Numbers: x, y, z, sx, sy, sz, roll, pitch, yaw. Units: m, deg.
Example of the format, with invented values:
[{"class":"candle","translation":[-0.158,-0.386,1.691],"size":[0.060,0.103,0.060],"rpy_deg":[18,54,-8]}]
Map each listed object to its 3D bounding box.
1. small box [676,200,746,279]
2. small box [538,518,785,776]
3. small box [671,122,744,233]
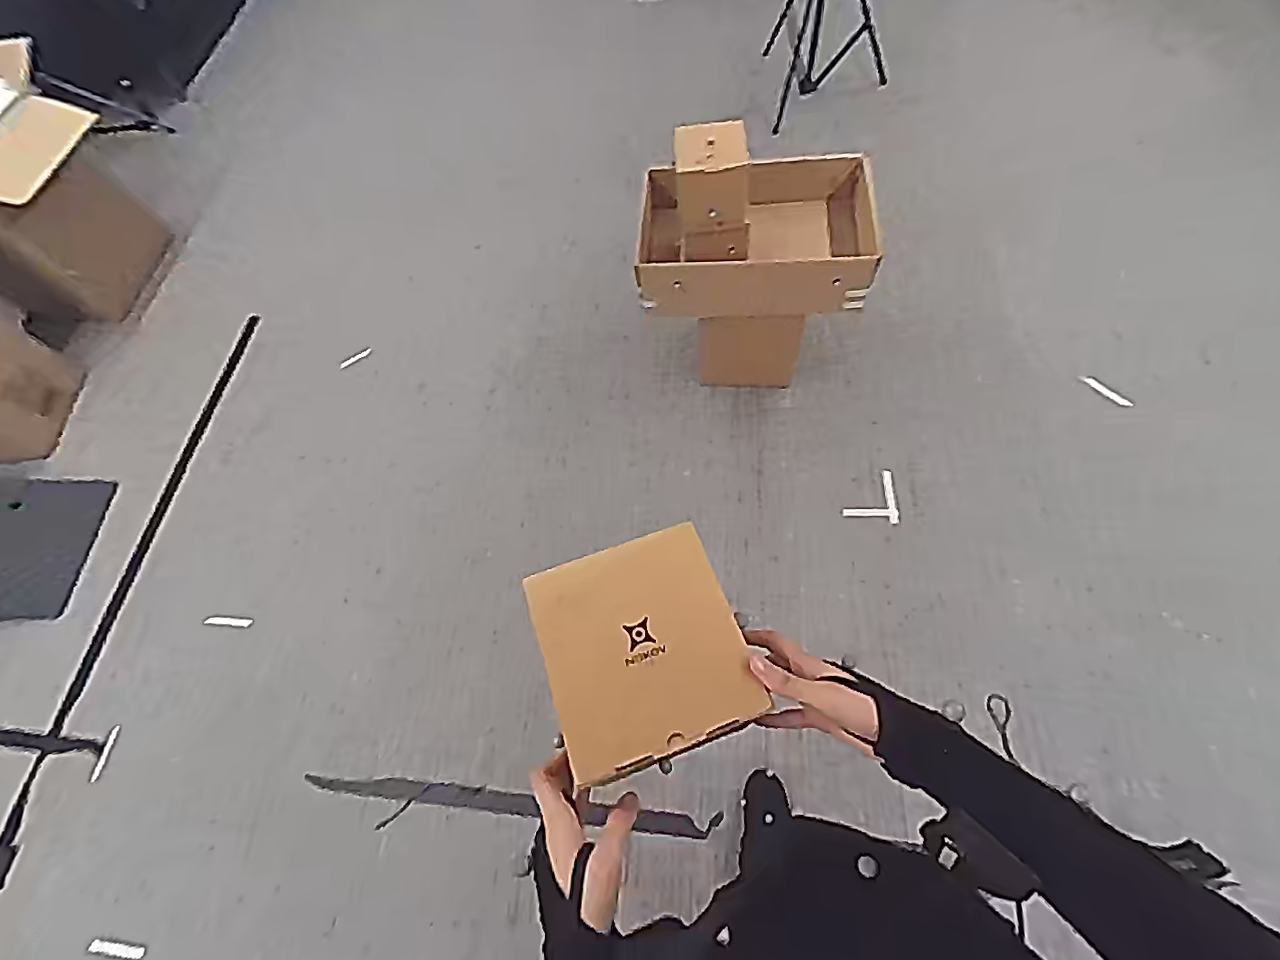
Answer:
[{"class":"small box","translation":[0.190,-0.679,1.486],"size":[0.179,0.176,0.168],"rpy_deg":[-5,64,5]},{"class":"small box","translation":[0.013,0.167,0.525],"size":[0.168,0.176,0.179],"rpy_deg":[-19,64,-8]},{"class":"small box","translation":[0.162,-0.744,1.337],"size":[0.168,0.176,0.179],"rpy_deg":[-3,64,5]}]
